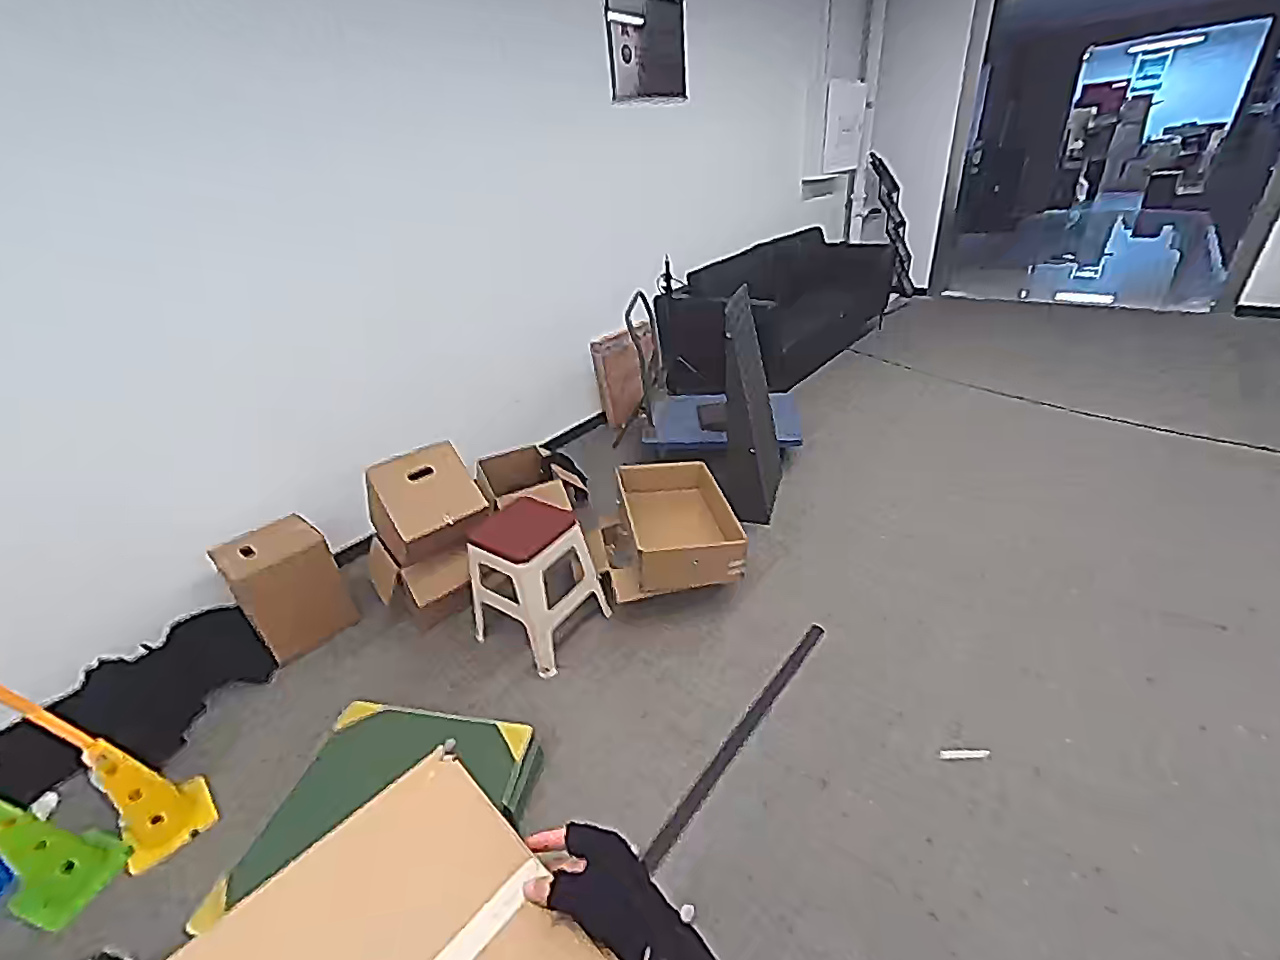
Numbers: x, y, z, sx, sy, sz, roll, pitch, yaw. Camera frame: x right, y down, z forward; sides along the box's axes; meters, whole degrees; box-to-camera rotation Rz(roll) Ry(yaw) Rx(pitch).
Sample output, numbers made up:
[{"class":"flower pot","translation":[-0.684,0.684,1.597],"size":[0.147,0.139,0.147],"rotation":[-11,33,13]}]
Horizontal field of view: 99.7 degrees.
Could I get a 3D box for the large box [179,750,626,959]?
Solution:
[{"class":"large box","translation":[-0.231,0.542,0.440],"size":[0.320,0.320,0.408],"rotation":[31,41,30]}]
